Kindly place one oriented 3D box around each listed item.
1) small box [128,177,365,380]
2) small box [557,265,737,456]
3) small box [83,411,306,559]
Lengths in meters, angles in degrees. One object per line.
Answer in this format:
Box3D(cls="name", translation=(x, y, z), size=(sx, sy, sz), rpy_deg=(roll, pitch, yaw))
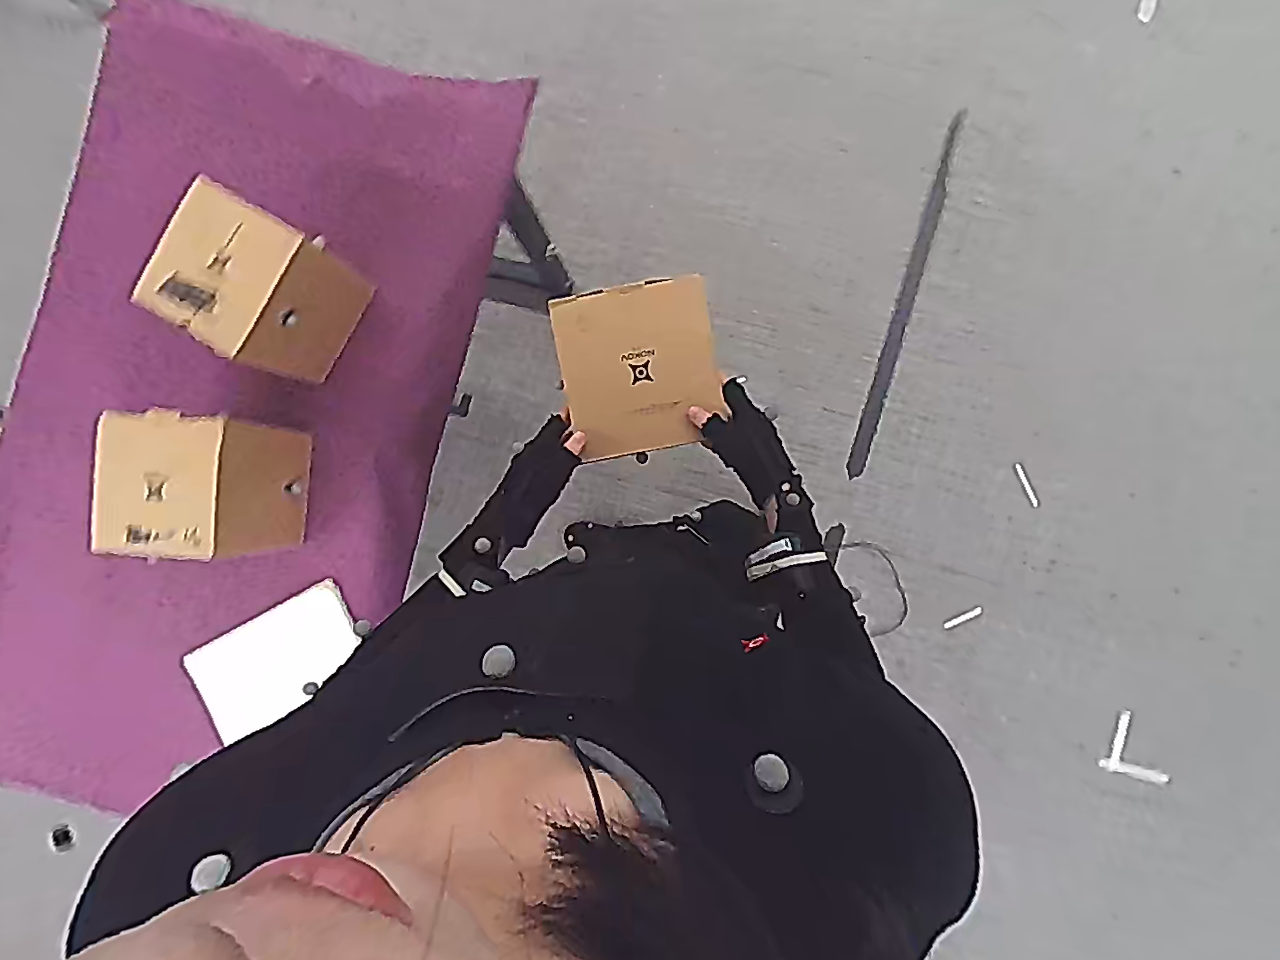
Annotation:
Box3D(cls="small box", translation=(-0.522, -0.261, 0.746), size=(0.168, 0.176, 0.179), rpy_deg=(30, 90, 5))
Box3D(cls="small box", translation=(0.006, -0.127, 0.636), size=(0.168, 0.176, 0.179), rpy_deg=(-10, 94, 0))
Box3D(cls="small box", translation=(-0.595, 0.009, 0.745), size=(0.168, 0.176, 0.179), rpy_deg=(3, 88, 5))
